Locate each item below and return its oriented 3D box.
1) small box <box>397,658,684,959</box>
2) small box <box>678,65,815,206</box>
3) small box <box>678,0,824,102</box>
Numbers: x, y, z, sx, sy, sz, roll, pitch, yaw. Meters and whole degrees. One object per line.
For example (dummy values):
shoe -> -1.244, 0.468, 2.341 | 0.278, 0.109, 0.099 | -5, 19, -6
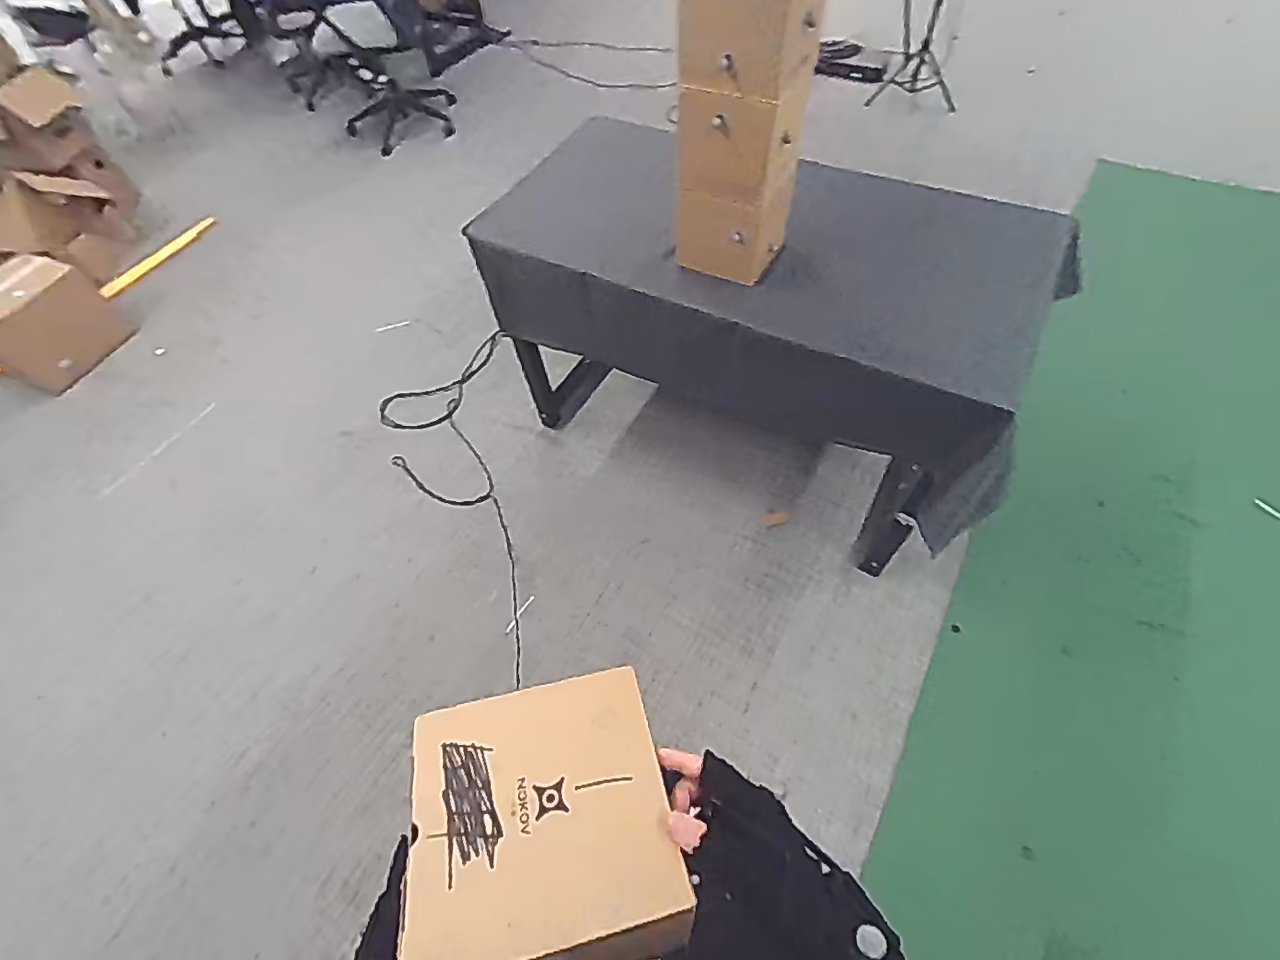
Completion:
small box -> -0.071, 0.275, 0.432 | 0.179, 0.176, 0.168 | -10, 43, -10
small box -> 0.181, -0.614, 0.954 | 0.179, 0.176, 0.168 | 24, 62, 19
small box -> 0.172, -0.708, 0.820 | 0.179, 0.176, 0.168 | 26, 63, 19
